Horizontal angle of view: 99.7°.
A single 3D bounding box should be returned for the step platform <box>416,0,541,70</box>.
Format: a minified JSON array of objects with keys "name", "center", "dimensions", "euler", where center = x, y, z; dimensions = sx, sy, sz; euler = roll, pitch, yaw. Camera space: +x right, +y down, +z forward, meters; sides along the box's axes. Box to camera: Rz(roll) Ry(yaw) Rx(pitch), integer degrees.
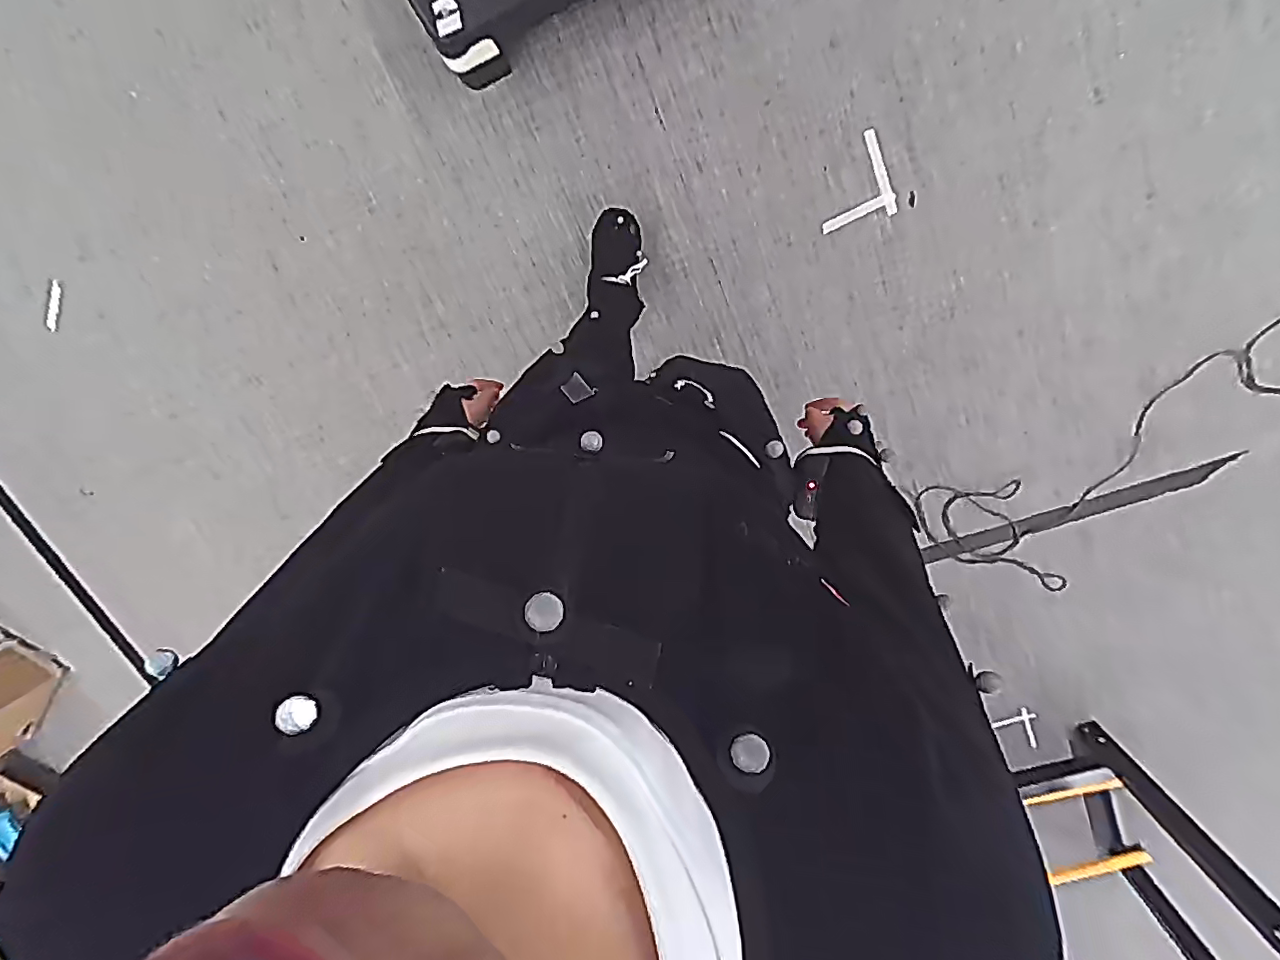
[{"name":"step platform","center":[-0.113,-1.041,0.941],"dimensions":[0.684,0.204,0.286],"euler":[-21,106,11]}]
